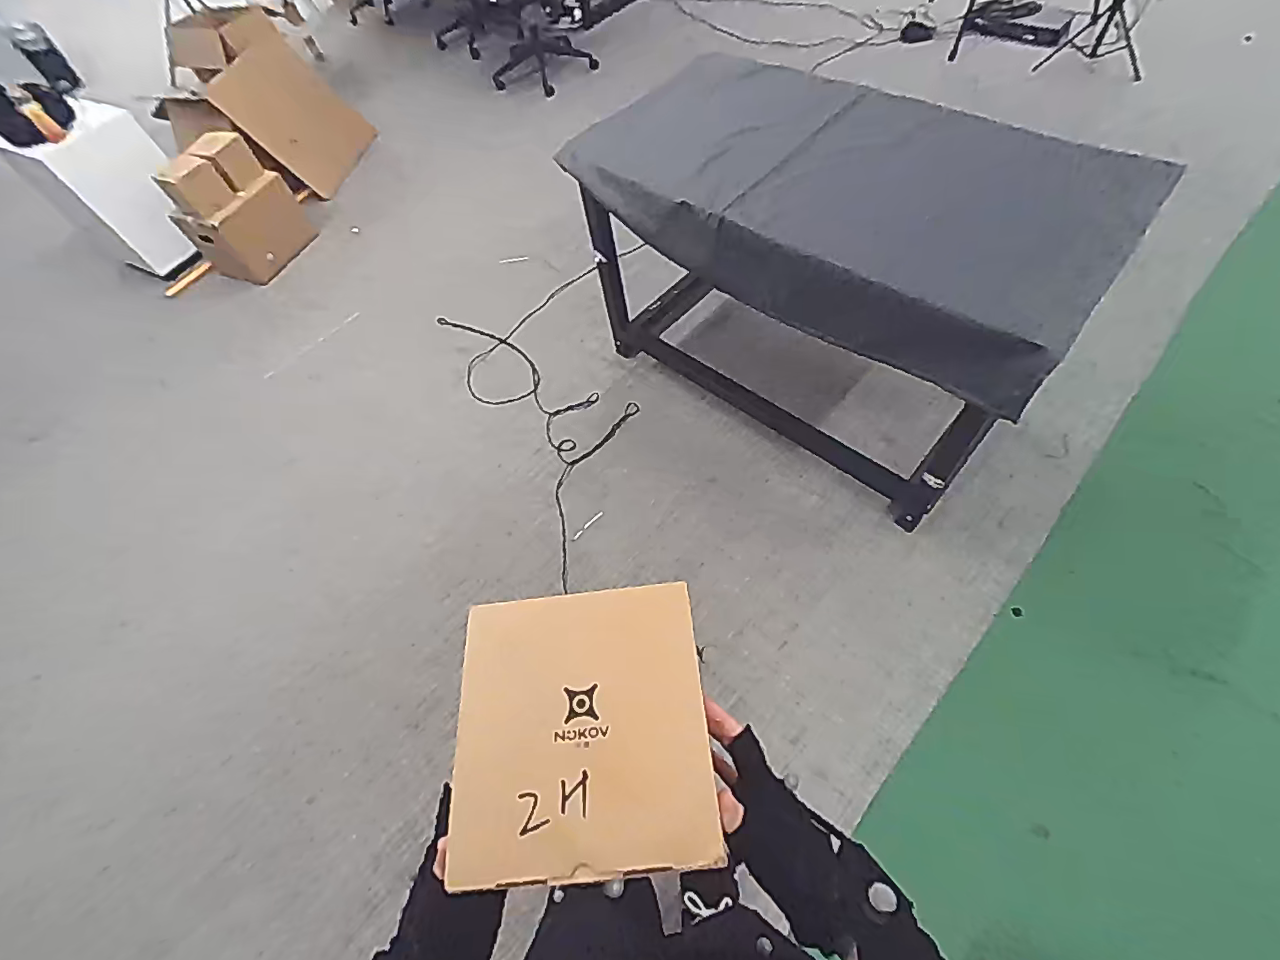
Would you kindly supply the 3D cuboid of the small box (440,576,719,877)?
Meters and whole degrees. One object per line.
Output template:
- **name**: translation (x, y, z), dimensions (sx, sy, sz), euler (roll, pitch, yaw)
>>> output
- **small box**: translation (-0.034, 0.195, 0.423), dimensions (0.168, 0.176, 0.179), euler (-7, 56, 3)
